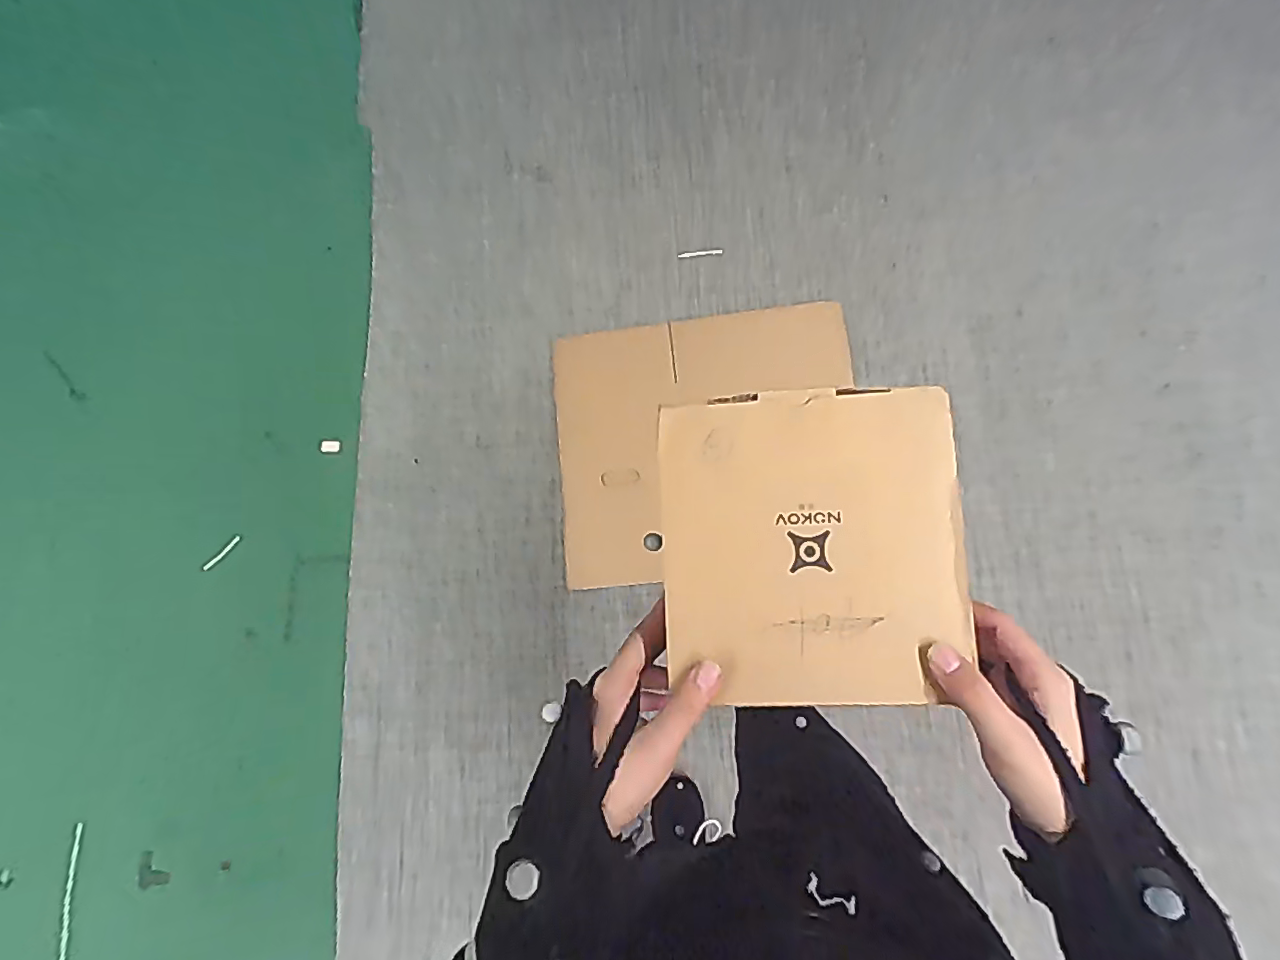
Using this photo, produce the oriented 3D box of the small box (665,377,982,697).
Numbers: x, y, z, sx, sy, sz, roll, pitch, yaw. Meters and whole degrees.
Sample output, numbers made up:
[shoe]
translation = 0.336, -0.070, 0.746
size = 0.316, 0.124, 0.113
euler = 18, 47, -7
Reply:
[small box]
translation = 0.106, 0.040, 0.382
size = 0.168, 0.176, 0.179
euler = -4, 84, 7
